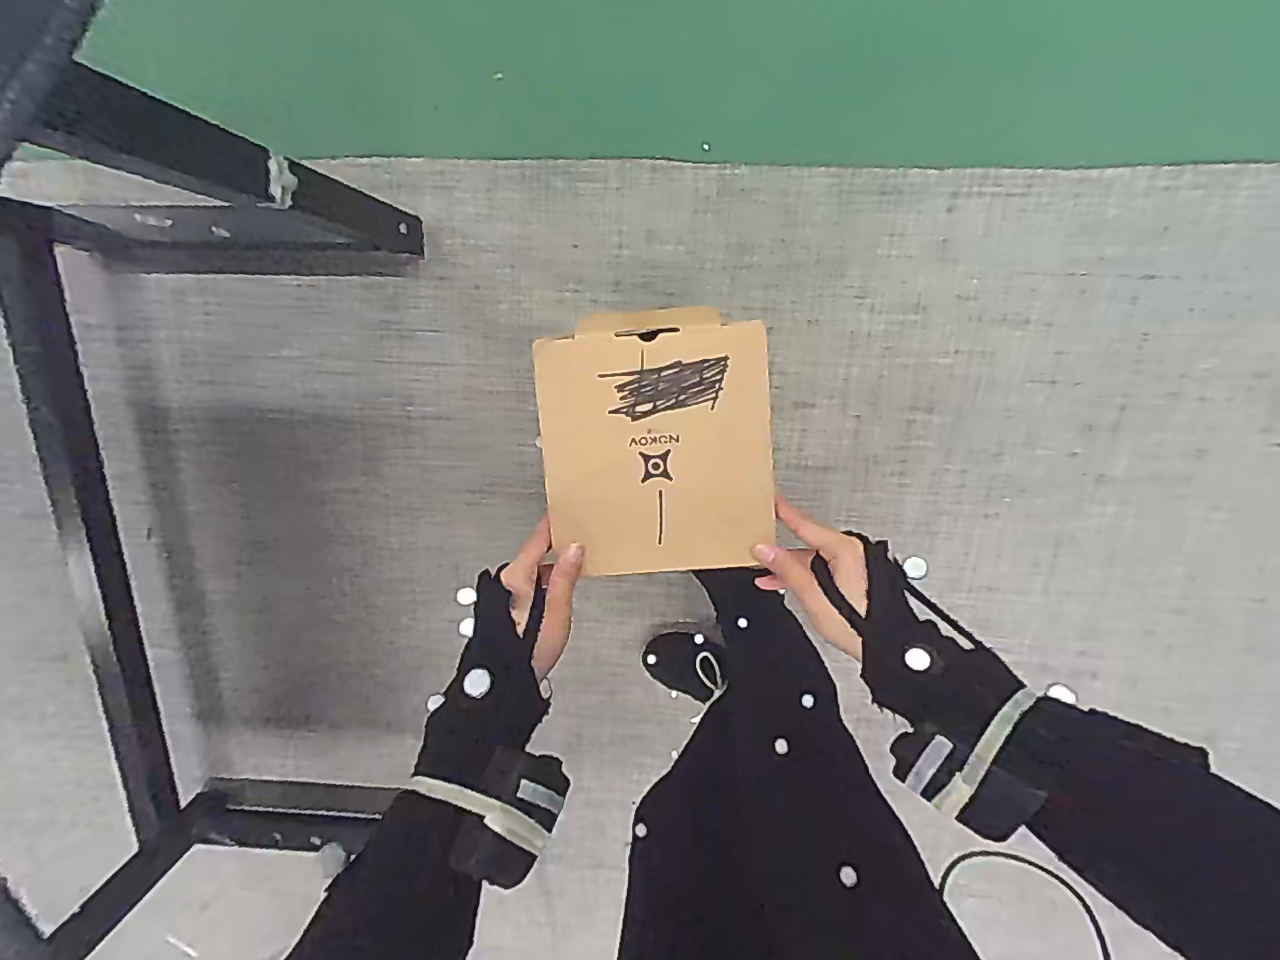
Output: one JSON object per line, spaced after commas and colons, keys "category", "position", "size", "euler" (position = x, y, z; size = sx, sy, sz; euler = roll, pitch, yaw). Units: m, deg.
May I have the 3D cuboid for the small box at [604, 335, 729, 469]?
{"category": "small box", "position": [0.040, -0.120, 0.798], "size": [0.168, 0.176, 0.179], "euler": [-1, 105, 5]}
